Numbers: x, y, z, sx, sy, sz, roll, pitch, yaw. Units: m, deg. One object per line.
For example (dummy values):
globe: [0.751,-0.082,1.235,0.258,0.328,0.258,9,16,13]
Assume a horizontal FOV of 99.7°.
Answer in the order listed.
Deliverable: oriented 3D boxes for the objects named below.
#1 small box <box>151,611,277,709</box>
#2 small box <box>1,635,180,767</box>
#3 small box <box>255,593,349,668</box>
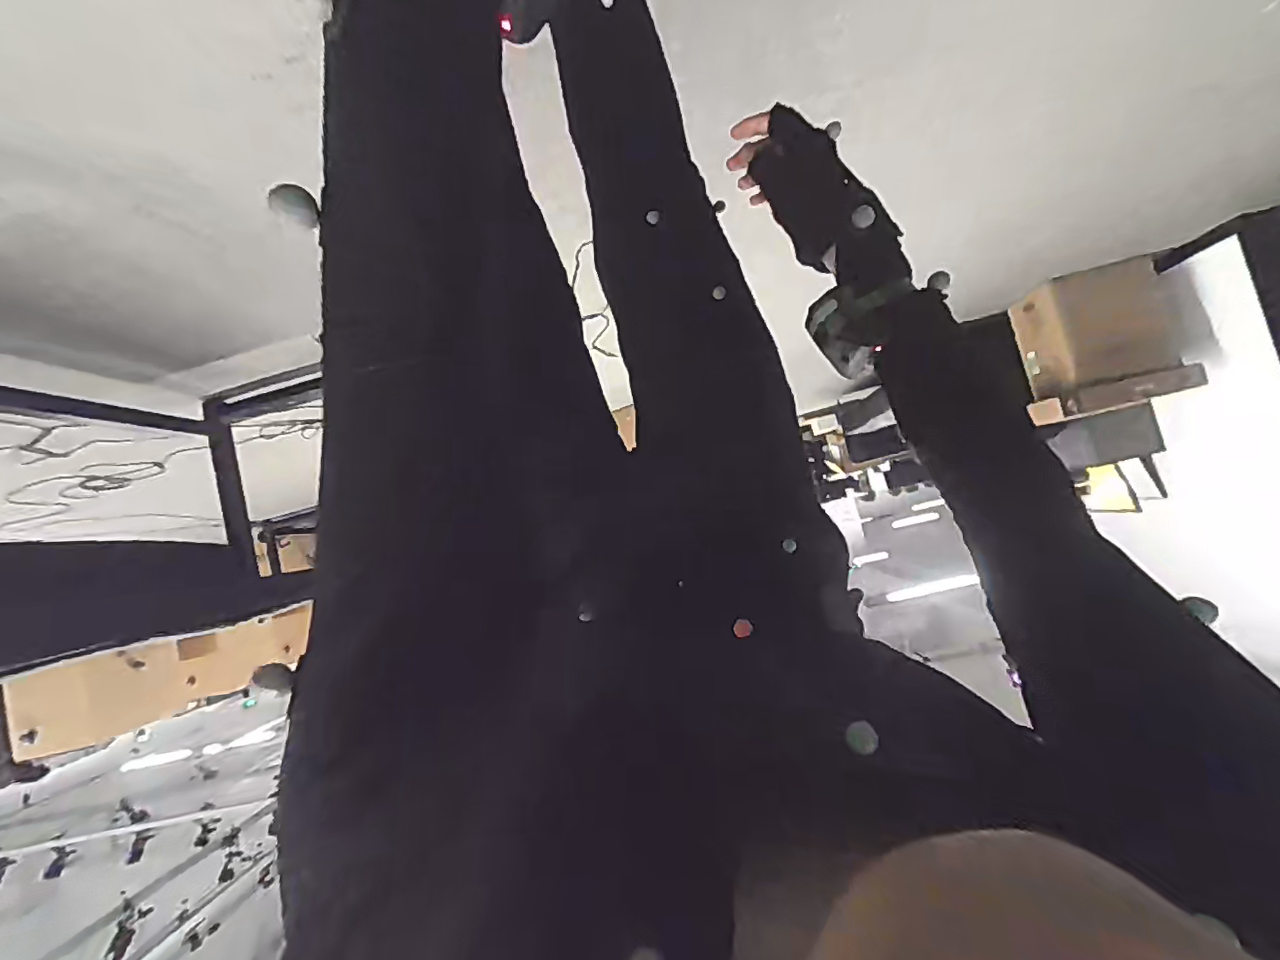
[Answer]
small box: [-0.989,0.409,1.246,0.179,0.176,0.168,-13,176,4]
small box: [-1.016,0.399,1.005,0.179,0.176,0.168,-14,176,6]
small box: [-0.965,0.424,1.533,0.179,0.176,0.168,-13,175,6]
